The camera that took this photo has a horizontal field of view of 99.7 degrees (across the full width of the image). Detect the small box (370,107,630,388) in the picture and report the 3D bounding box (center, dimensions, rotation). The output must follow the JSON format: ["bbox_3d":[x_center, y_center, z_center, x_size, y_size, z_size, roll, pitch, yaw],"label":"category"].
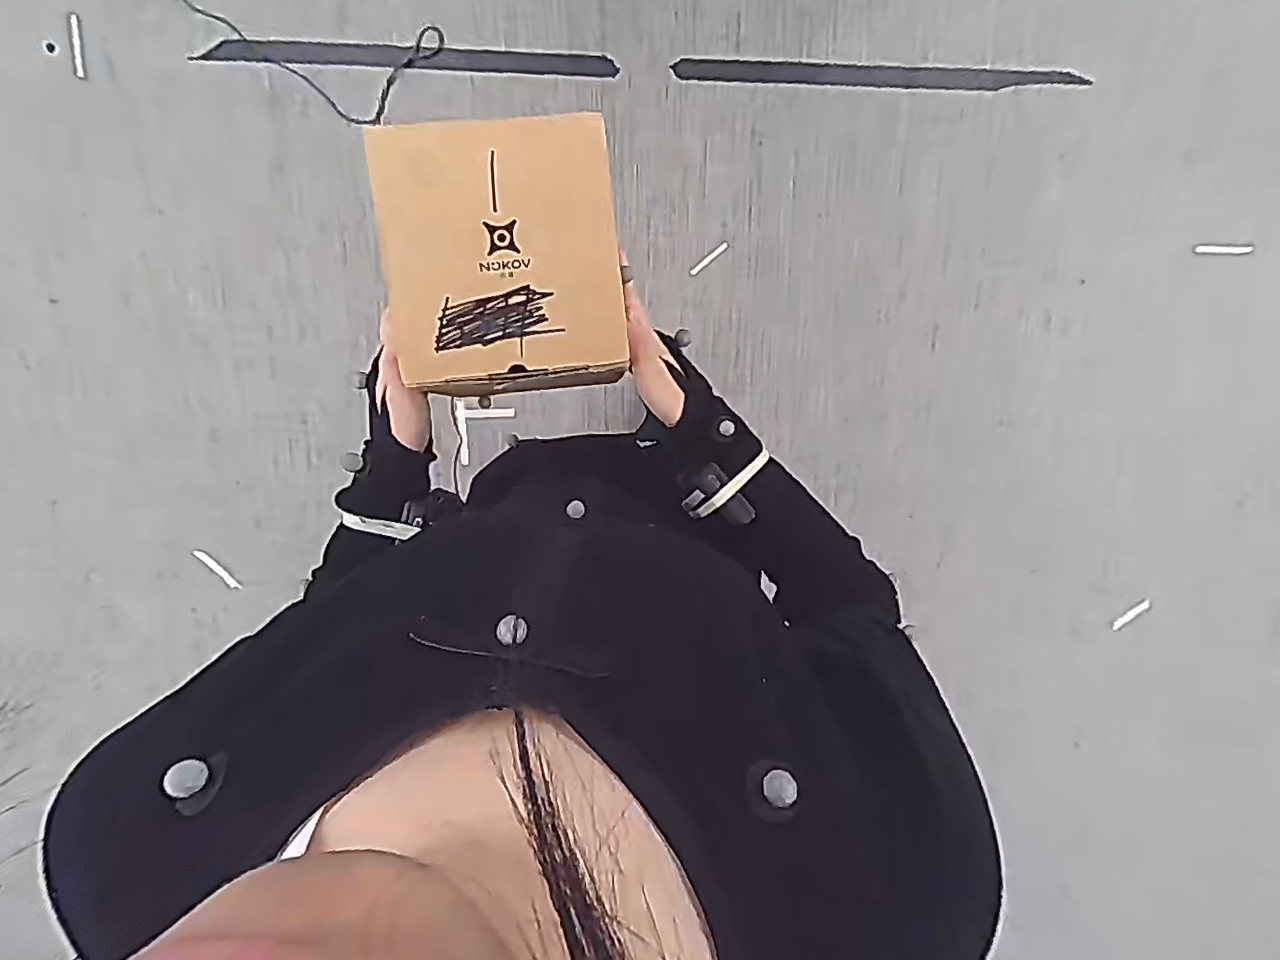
[{"bbox_3d":[-0.100,-0.172,0.456,0.168,0.176,0.179,-6,95,-5],"label":"small box"}]

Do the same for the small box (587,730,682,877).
[{"bbox_3d":[-0.011,0.602,1.019,0.168,0.176,0.179,0,96,-1],"label":"small box"}]
